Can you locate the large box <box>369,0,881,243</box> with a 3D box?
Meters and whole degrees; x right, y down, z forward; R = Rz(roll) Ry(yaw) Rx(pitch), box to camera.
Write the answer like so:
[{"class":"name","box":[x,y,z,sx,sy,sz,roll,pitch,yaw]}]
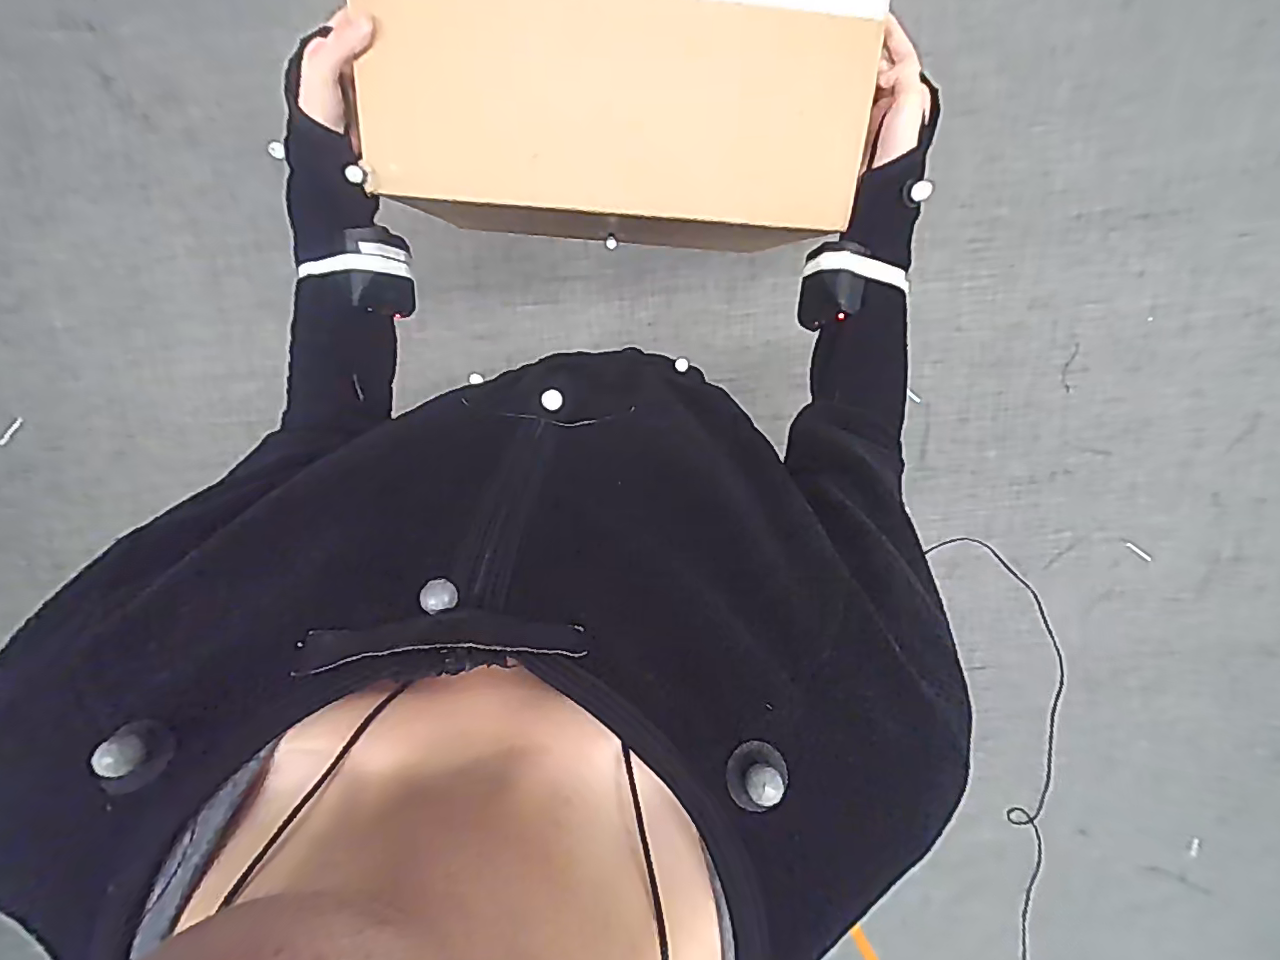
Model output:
[{"class":"large box","box":[-0.014,-0.428,0.556,0.408,0.320,0.320,2,109,-4]}]
